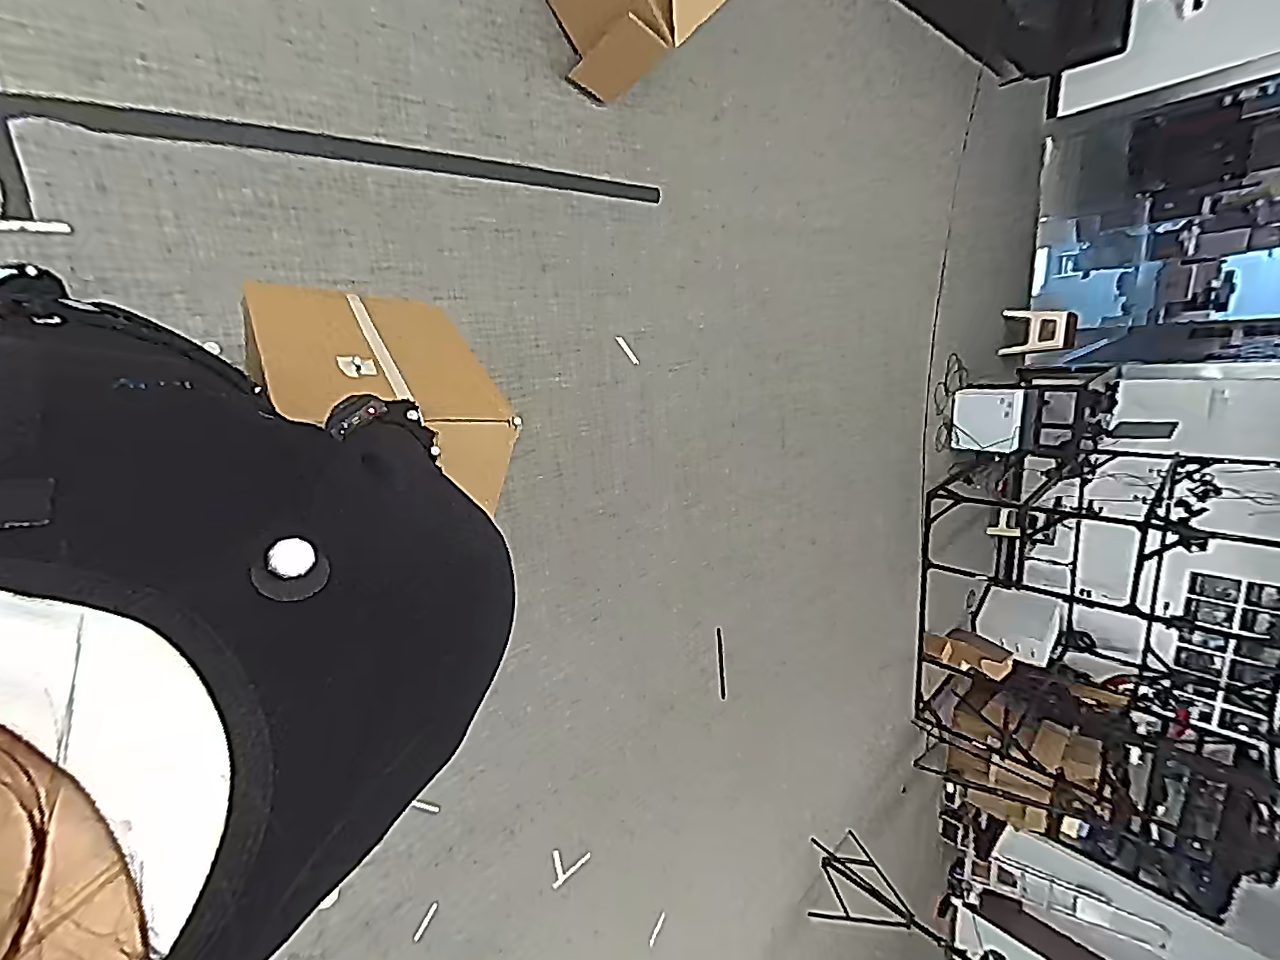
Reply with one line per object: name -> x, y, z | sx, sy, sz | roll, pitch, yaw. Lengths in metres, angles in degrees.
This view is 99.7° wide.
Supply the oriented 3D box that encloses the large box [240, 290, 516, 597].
large box -> -0.467, -0.073, 0.921 | 0.320, 0.408, 0.320 | -5, 132, -39
